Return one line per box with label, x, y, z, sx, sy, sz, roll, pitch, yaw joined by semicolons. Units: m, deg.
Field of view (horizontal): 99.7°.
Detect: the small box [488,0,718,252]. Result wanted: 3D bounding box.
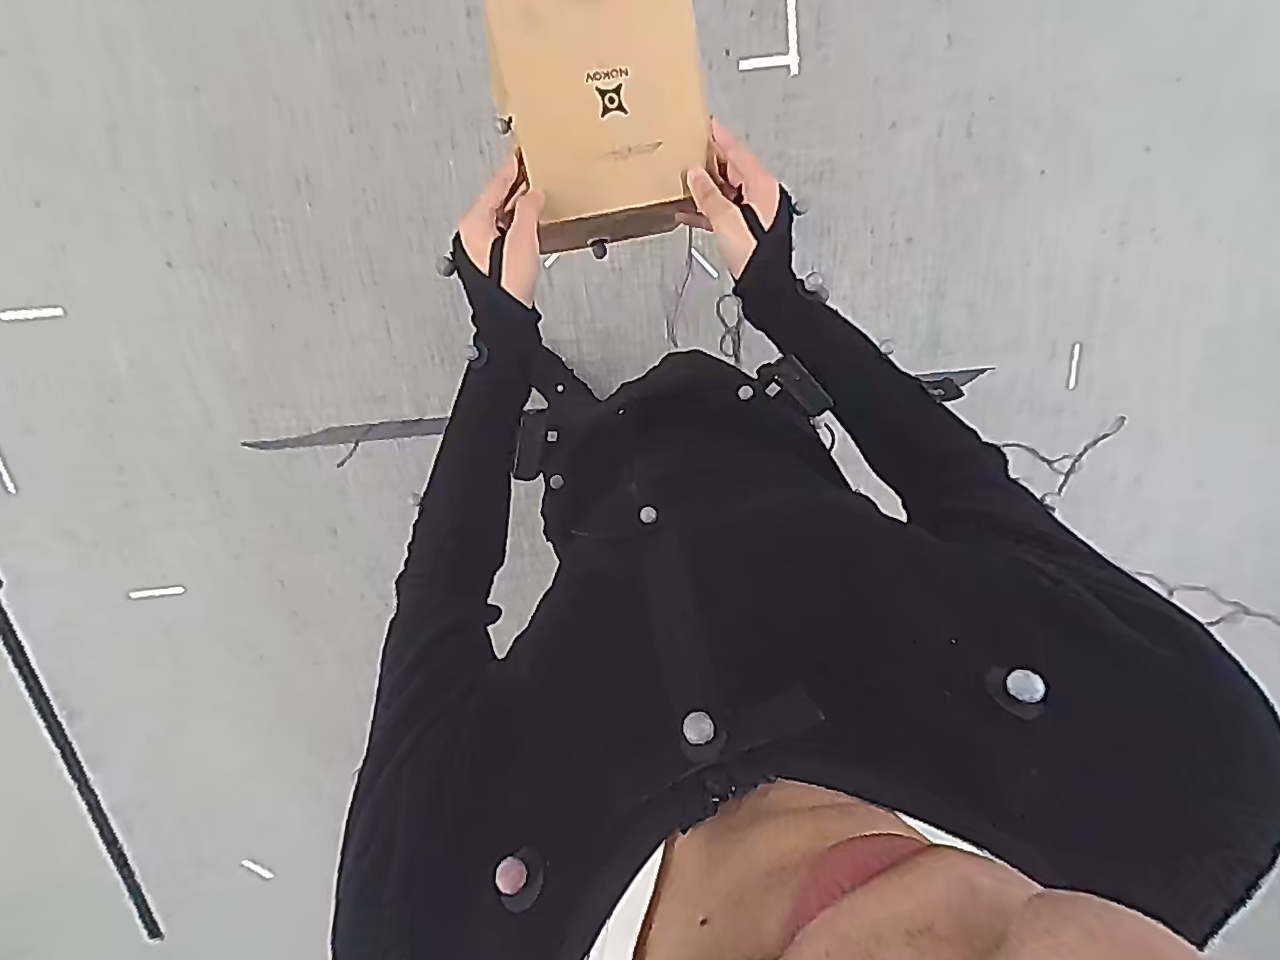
small box;-0.041;-0.336;0.516;0.168;0.176;0.179;-14;105;-8
